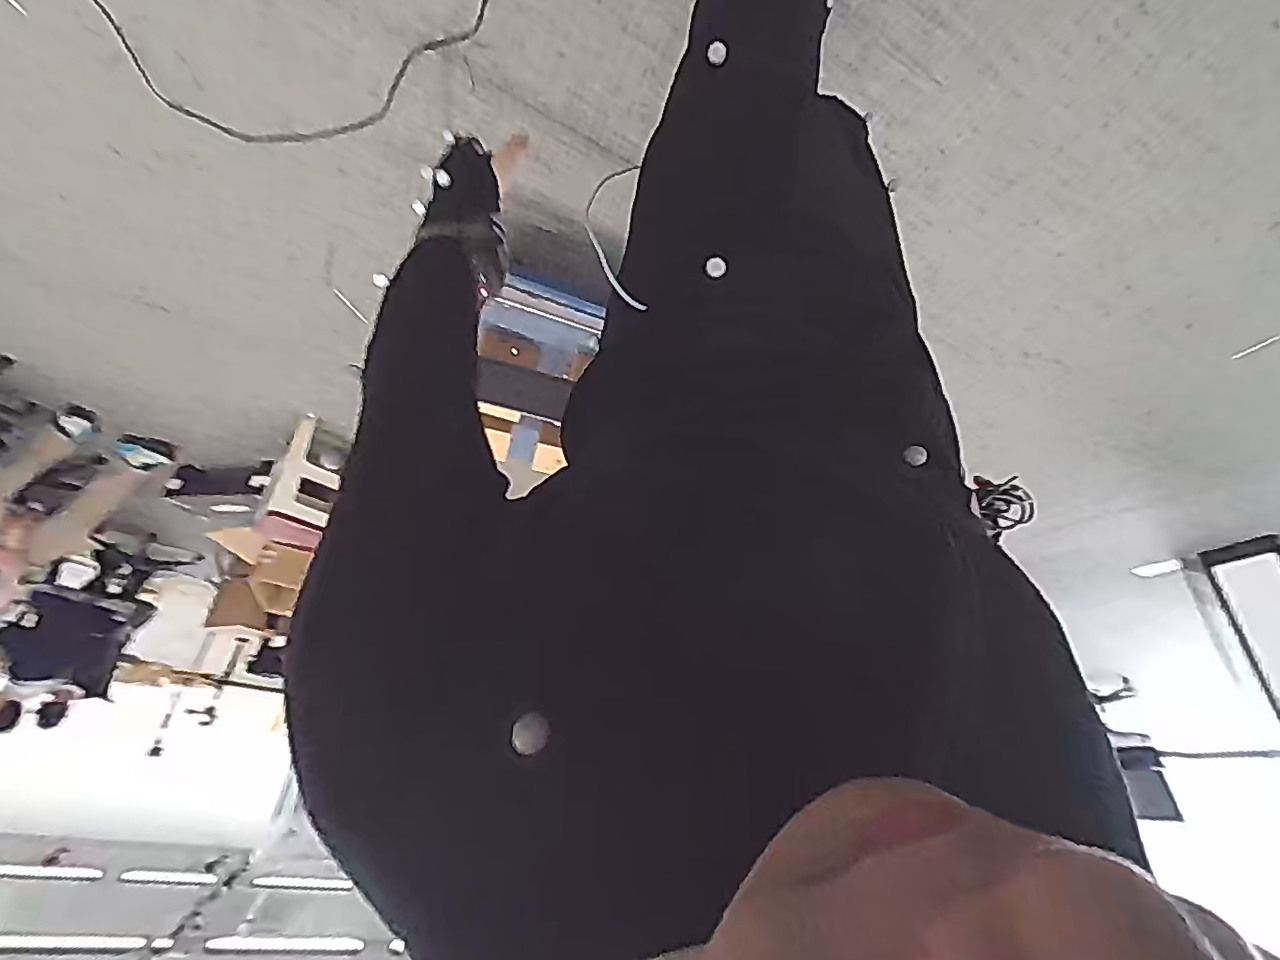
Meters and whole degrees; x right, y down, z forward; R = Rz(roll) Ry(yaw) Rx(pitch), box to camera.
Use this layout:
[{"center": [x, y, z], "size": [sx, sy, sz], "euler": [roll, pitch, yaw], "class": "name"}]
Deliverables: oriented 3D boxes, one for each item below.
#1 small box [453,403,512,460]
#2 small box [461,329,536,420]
[{"center": [-0.516, -0.197, 1.798], "size": [0.168, 0.176, 0.179], "euler": [13, 146, -15], "class": "small box"}, {"center": [-0.416, -0.311, 1.600], "size": [0.168, 0.176, 0.179], "euler": [16, 146, -18], "class": "small box"}]
